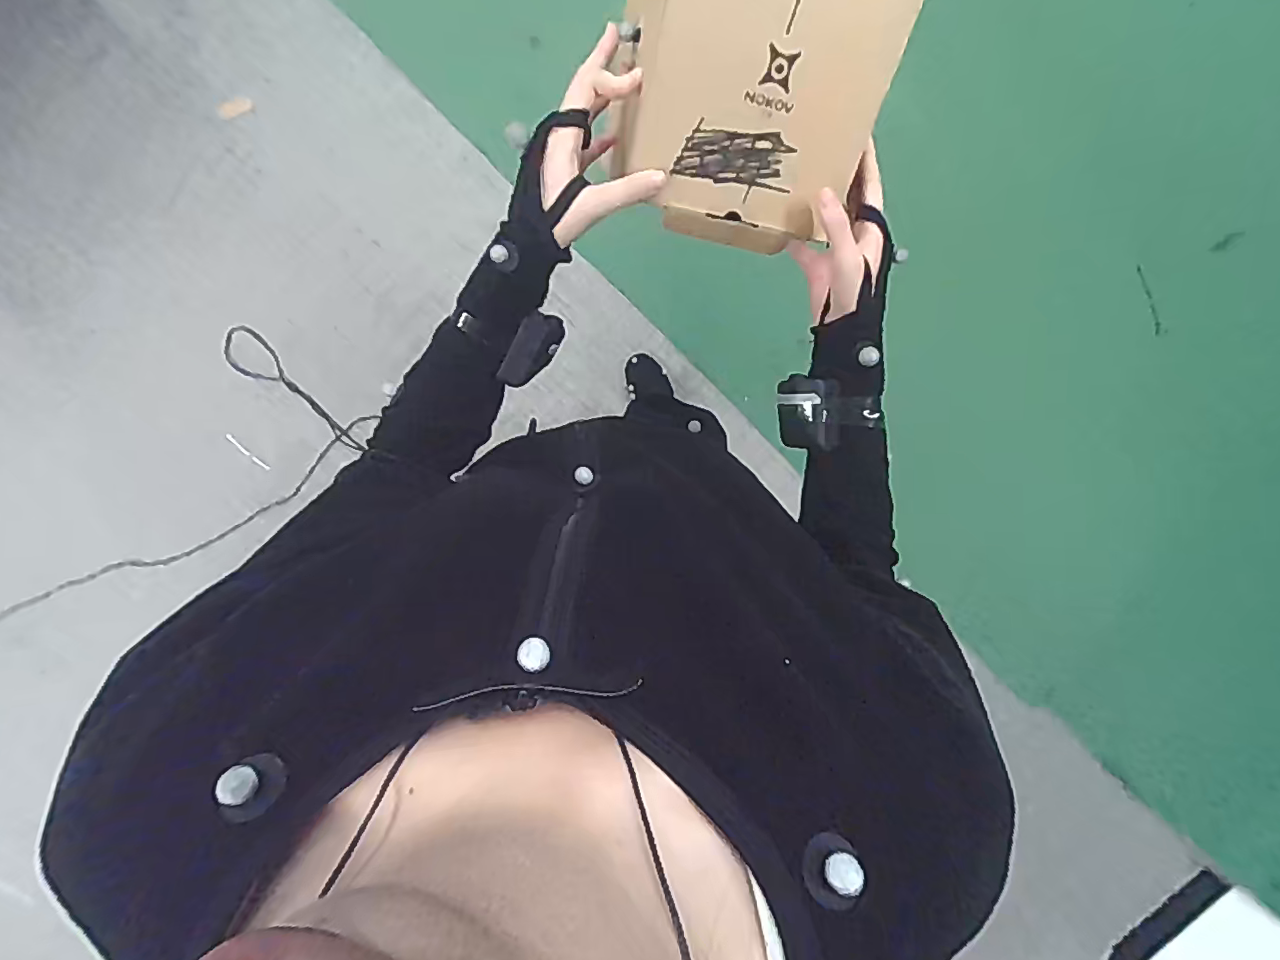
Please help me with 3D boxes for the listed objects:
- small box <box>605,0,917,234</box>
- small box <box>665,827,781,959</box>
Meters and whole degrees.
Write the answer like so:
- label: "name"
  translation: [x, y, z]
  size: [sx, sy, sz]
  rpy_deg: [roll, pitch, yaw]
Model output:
- label: "small box"
  translation: [0.072, -0.317, 0.419]
  size: [0.168, 0.176, 0.179]
  rpy_deg: [4, 125, -16]
- label: "small box"
  translation: [0.169, 0.902, 1.172]
  size: [0.179, 0.176, 0.168]
  rpy_deg: [39, 95, -6]
